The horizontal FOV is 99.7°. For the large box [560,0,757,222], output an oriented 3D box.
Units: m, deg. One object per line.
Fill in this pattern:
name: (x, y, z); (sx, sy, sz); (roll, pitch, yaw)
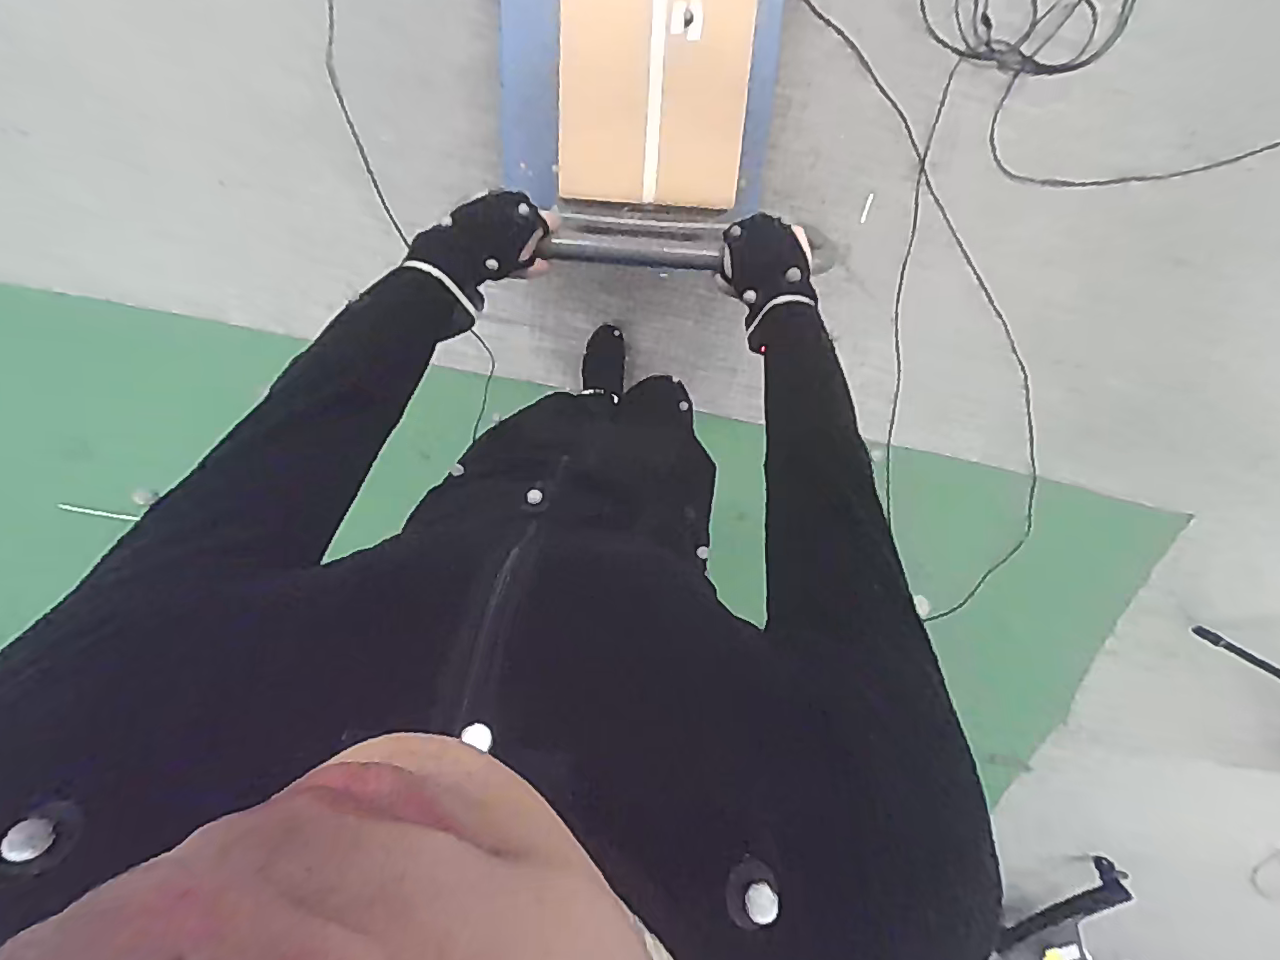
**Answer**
large box: (0.023, -0.727, 1.024); (0.320, 0.320, 0.408); (2, 111, -4)
